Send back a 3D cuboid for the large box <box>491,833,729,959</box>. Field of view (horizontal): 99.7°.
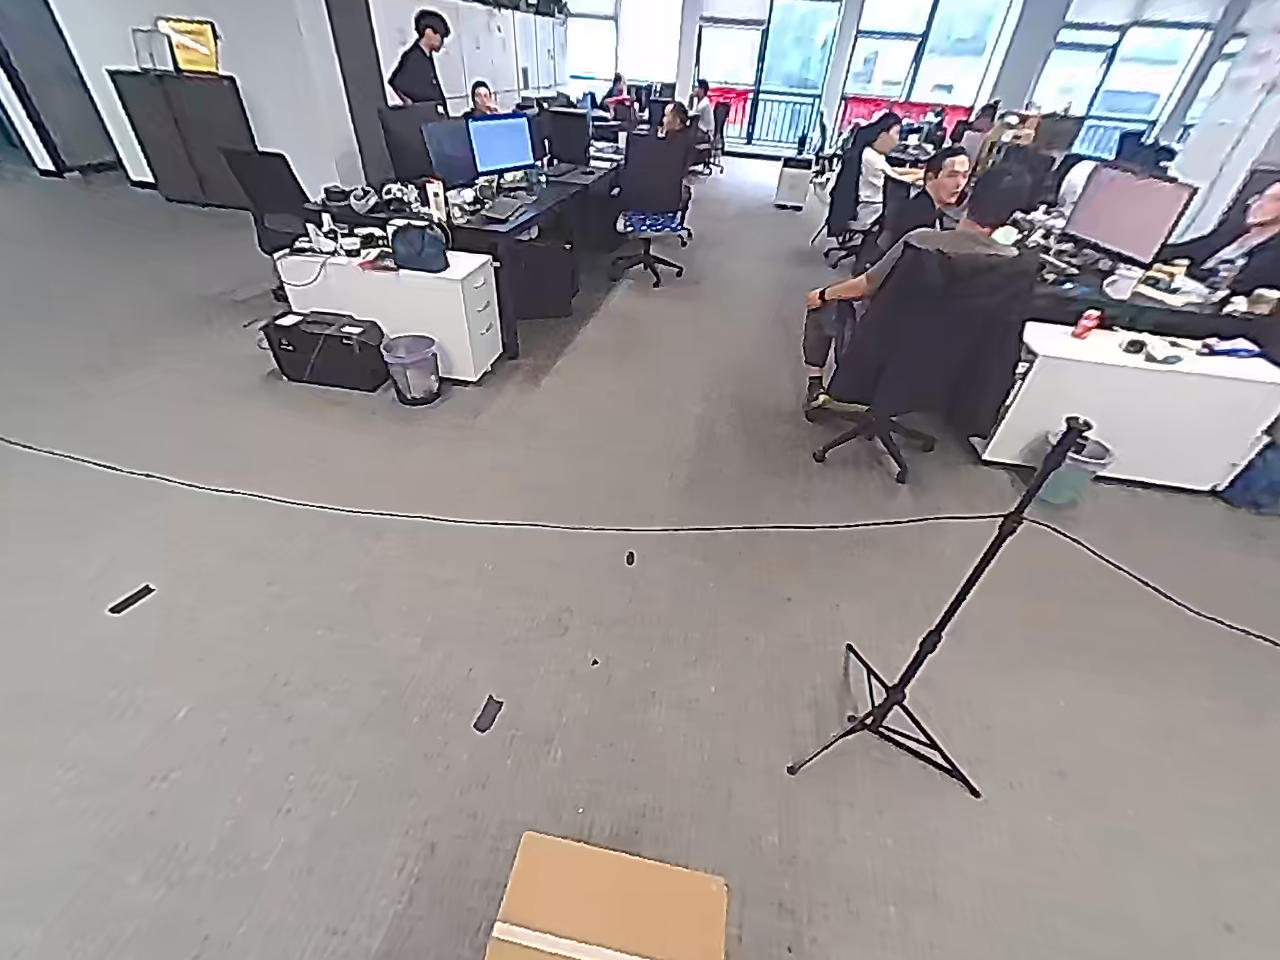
[{"bbox_3d":[-0.063,0.932,1.020,0.408,0.320,0.320,10,39,6],"label":"large box"}]
